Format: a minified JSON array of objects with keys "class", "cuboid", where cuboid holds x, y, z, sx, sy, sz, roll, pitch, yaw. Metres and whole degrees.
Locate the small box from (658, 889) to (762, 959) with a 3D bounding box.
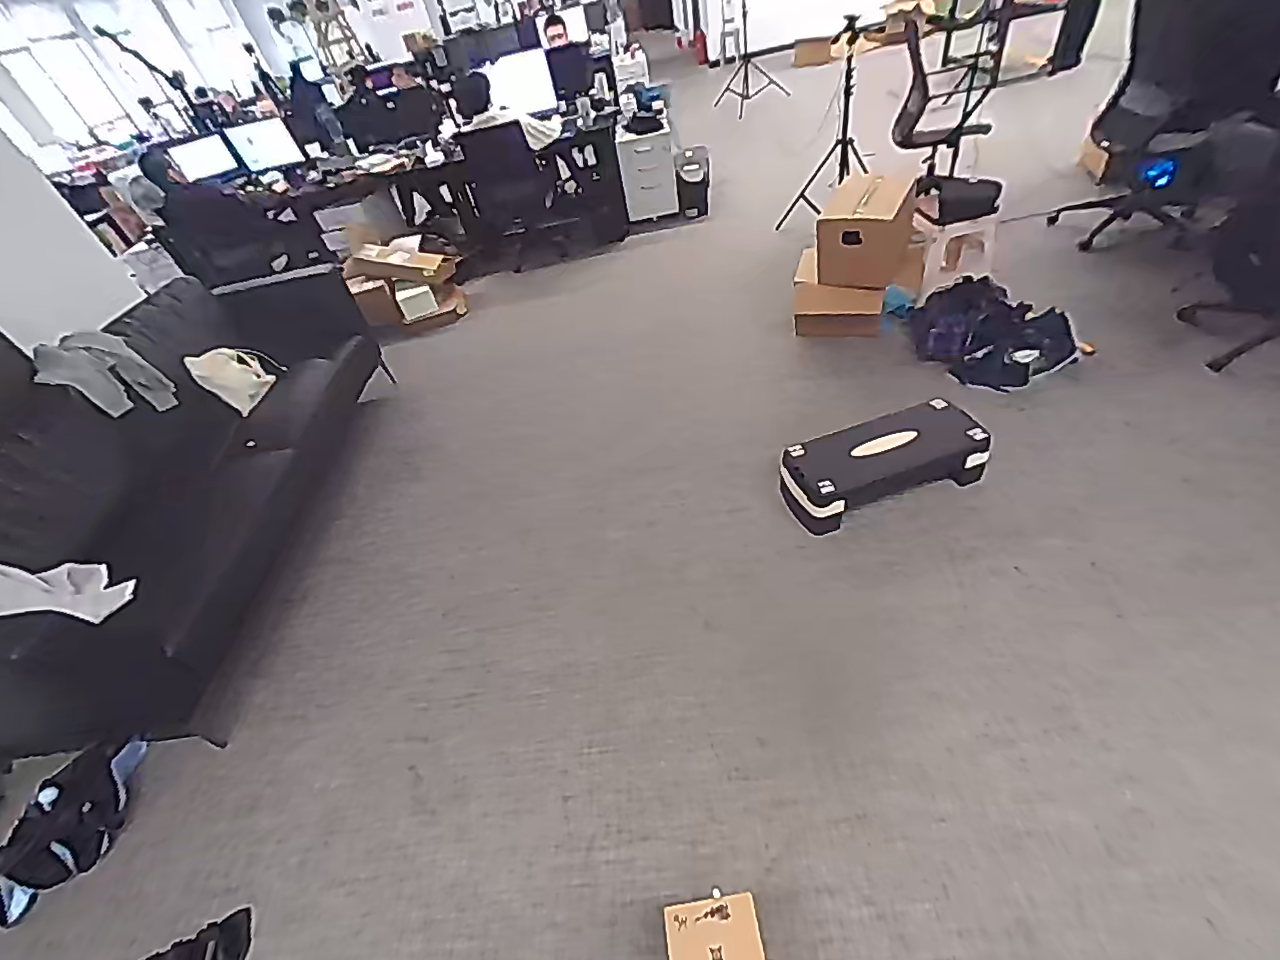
[{"class":"small box","cuboid":[0.137,0.878,0.989,0.168,0.176,0.179,-12,44,2]}]
